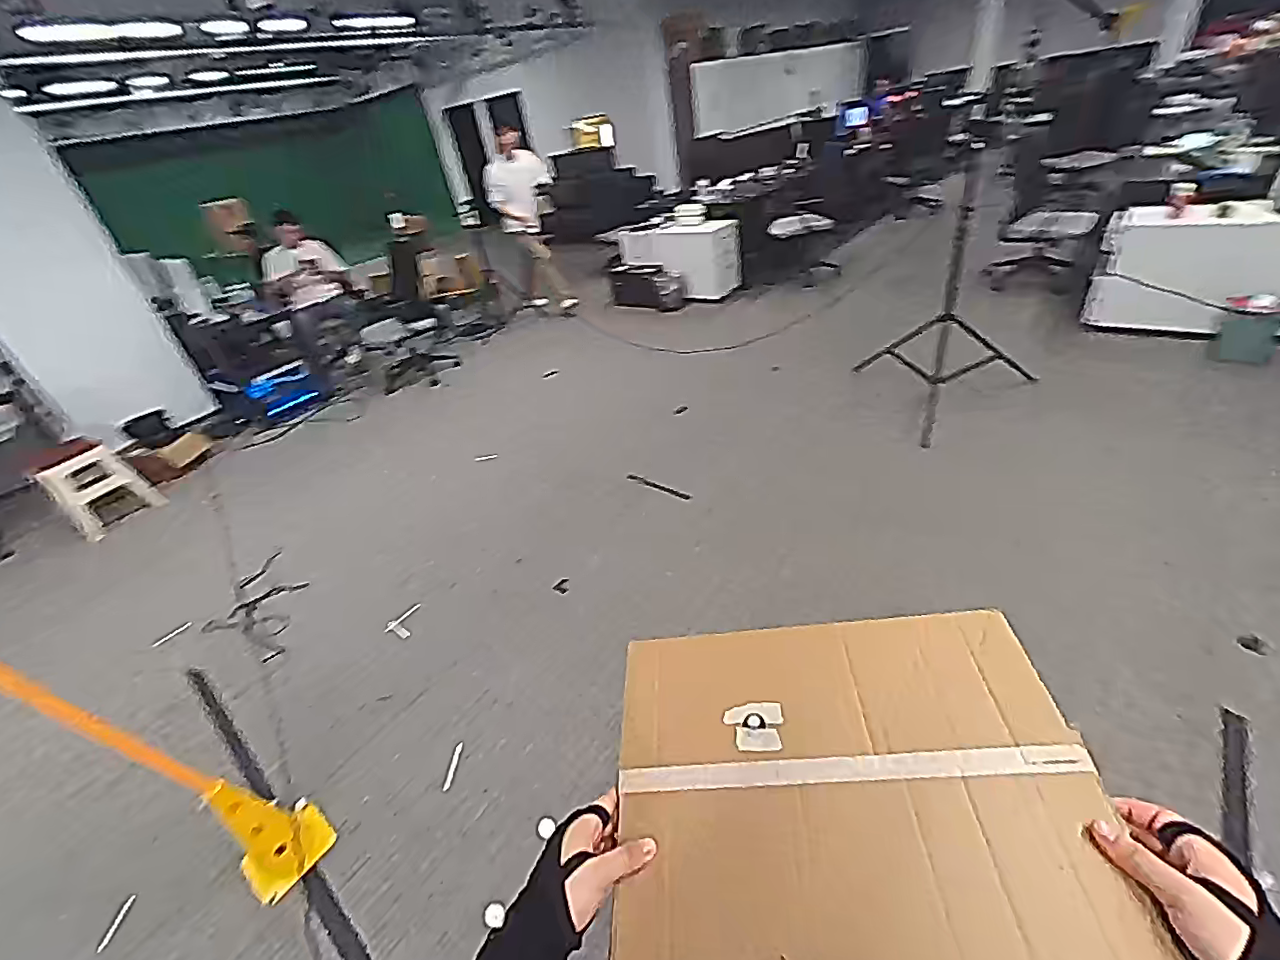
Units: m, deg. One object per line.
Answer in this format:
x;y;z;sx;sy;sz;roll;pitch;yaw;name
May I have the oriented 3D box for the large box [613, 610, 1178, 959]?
0.210;0.382;0.590;0.408;0.320;0.320;-10;38;10;large box
